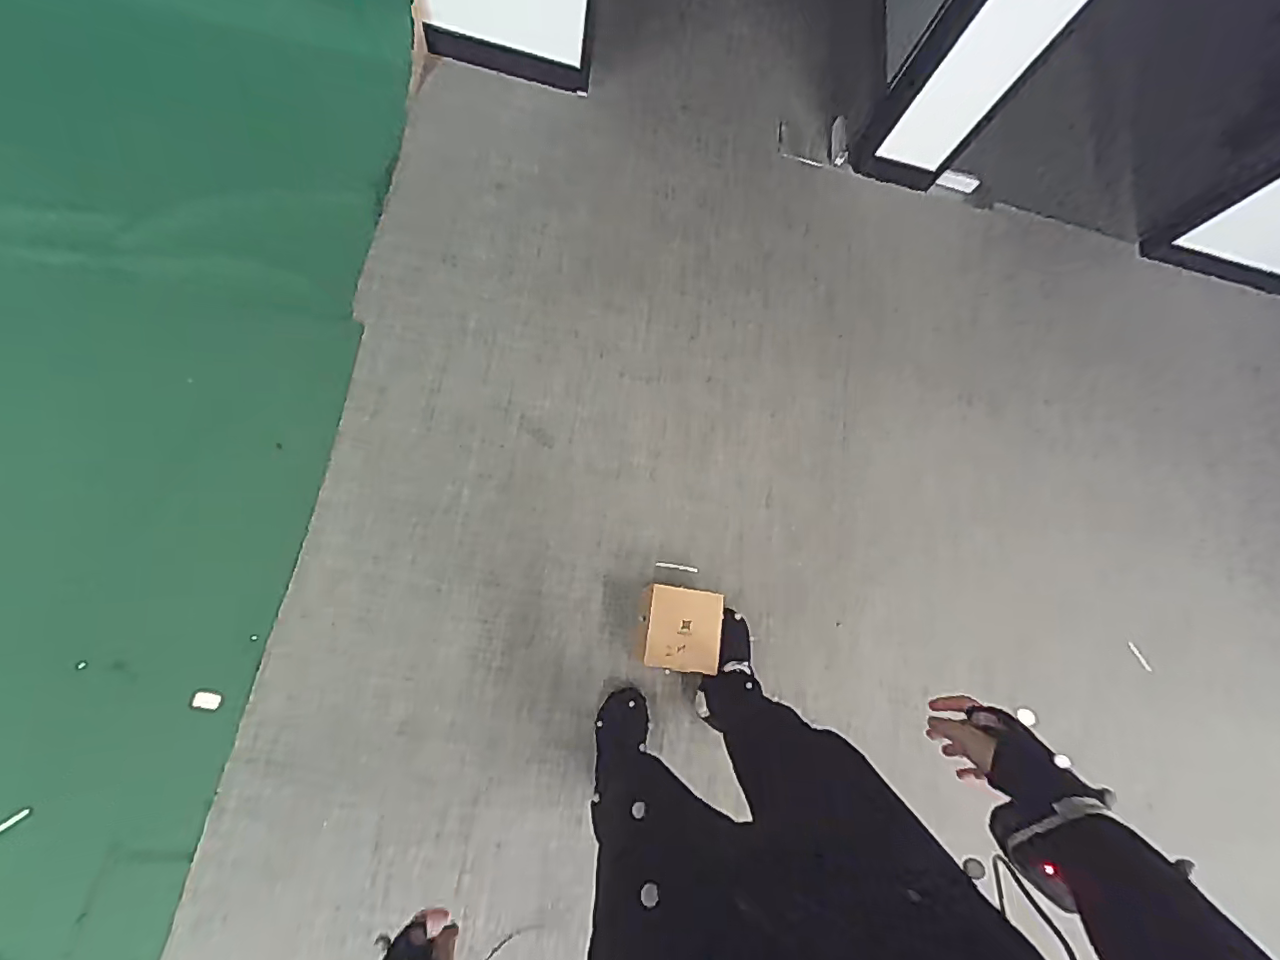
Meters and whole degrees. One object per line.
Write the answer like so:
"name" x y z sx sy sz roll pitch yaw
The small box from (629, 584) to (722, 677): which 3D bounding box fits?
"small box" 0.077 0.345 1.246 0.168 0.176 0.179 11 74 -8
